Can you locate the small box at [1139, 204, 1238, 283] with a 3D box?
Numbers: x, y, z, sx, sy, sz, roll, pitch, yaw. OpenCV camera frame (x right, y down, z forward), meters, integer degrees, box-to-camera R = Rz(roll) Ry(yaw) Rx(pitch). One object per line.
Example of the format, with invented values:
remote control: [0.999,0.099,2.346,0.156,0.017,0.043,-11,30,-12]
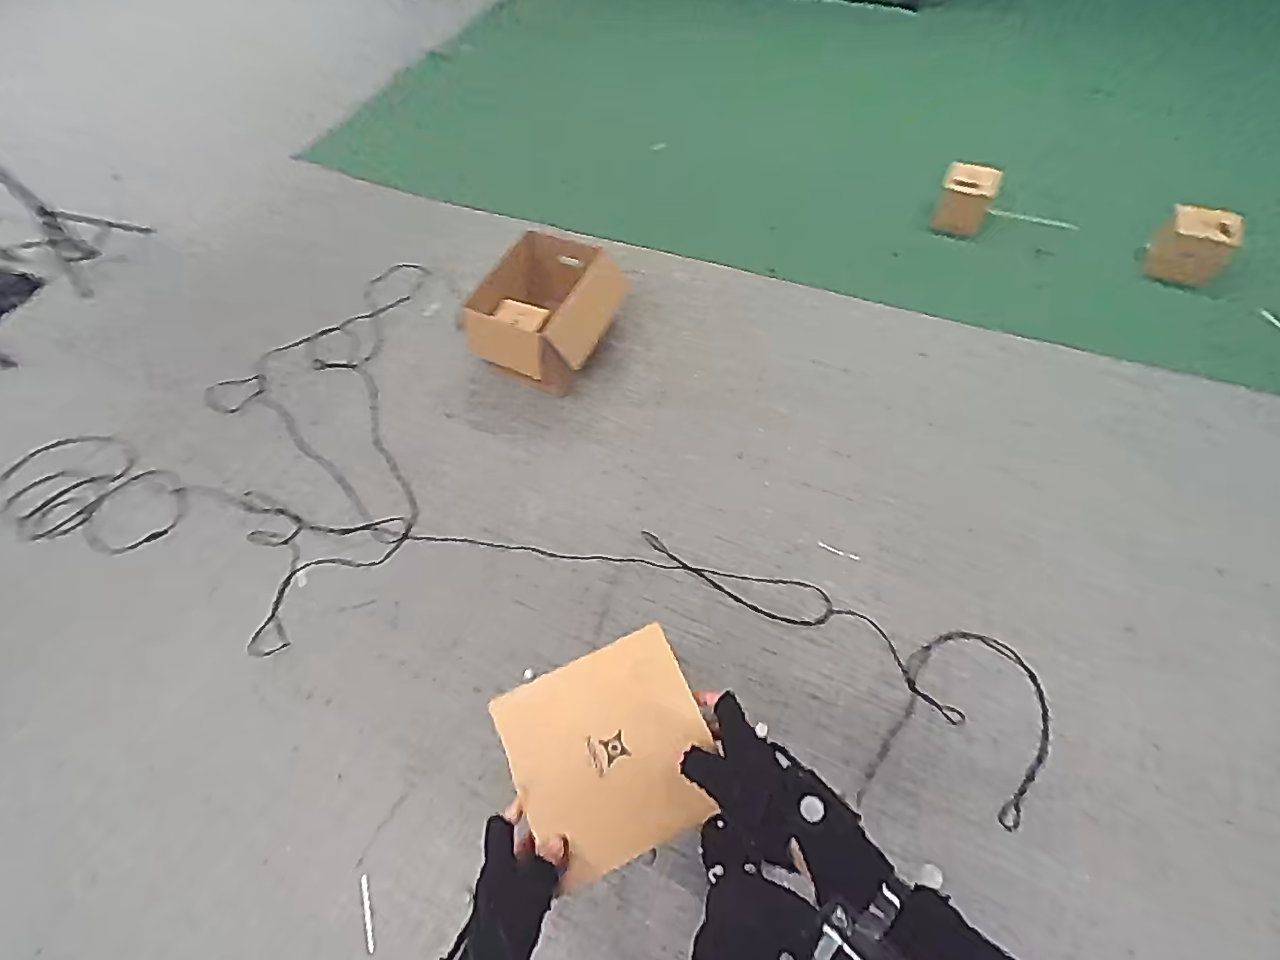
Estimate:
small box: [1.871,-0.805,1.847,0.179,0.176,0.168,21,64,17]
